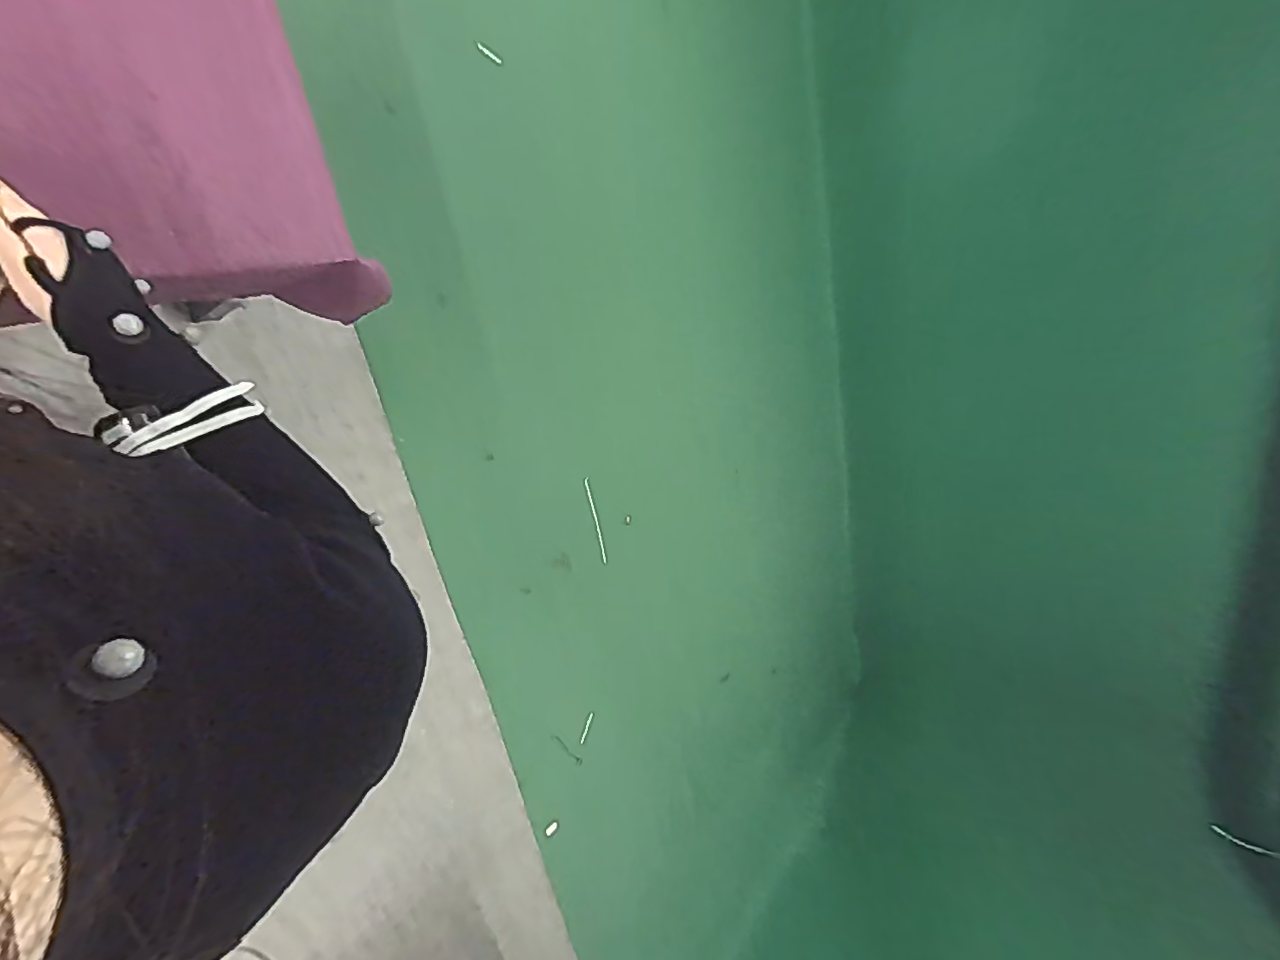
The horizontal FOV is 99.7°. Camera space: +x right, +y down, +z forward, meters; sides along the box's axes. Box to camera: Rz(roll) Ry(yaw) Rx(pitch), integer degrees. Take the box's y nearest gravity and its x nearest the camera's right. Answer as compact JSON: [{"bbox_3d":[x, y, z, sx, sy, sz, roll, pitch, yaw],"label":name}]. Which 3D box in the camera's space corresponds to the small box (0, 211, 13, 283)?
[{"bbox_3d":[-0.571,-0.220,0.357,0.168,0.176,0.179,-27,109,-50],"label":"small box"}]
